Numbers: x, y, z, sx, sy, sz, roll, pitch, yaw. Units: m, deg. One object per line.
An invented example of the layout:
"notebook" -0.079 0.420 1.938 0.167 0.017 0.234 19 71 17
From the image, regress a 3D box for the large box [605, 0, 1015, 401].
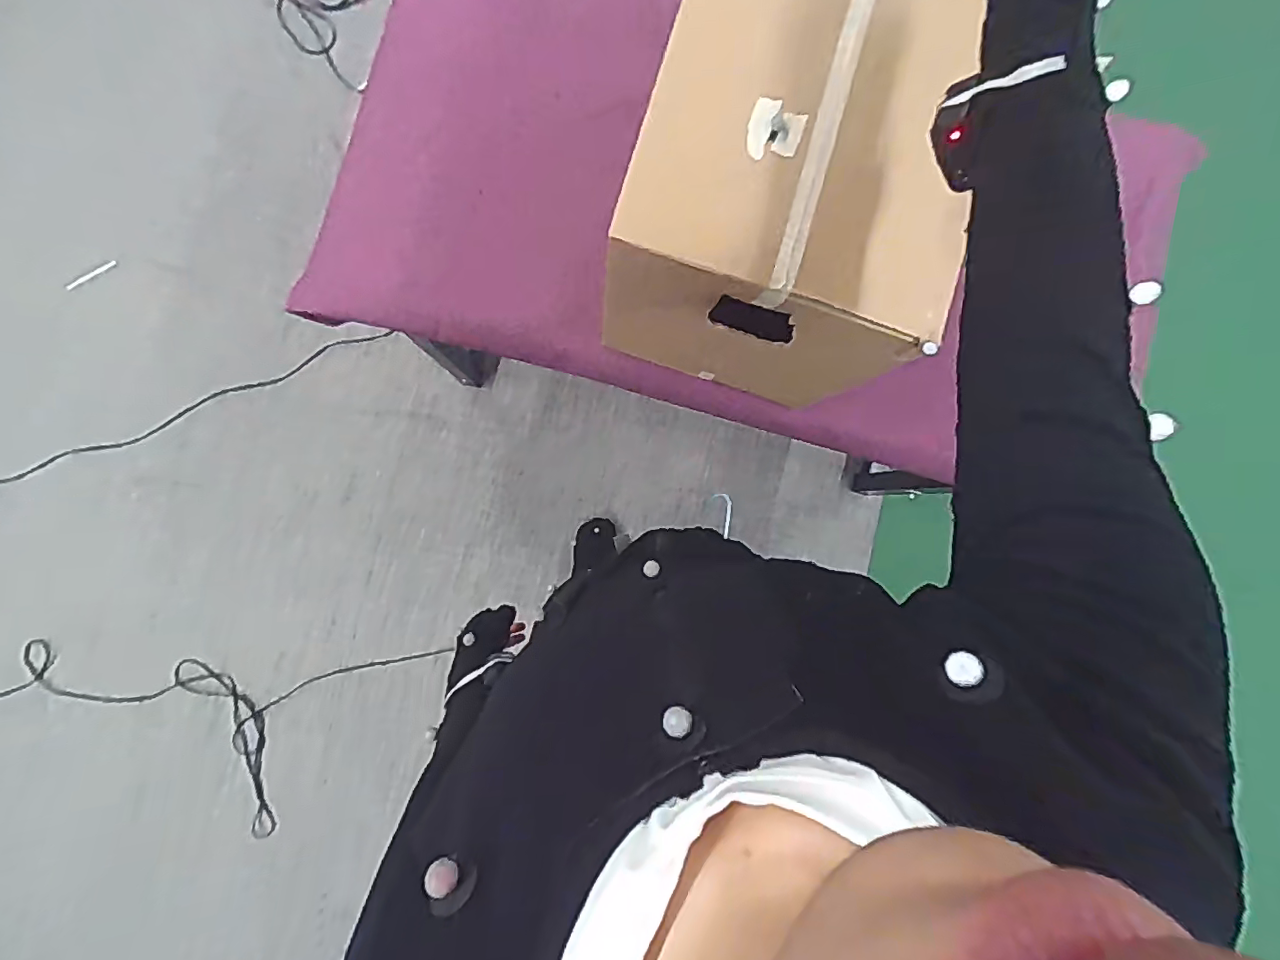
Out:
"large box" 0.161 -0.353 0.653 0.320 0.320 0.408 17 86 -4
